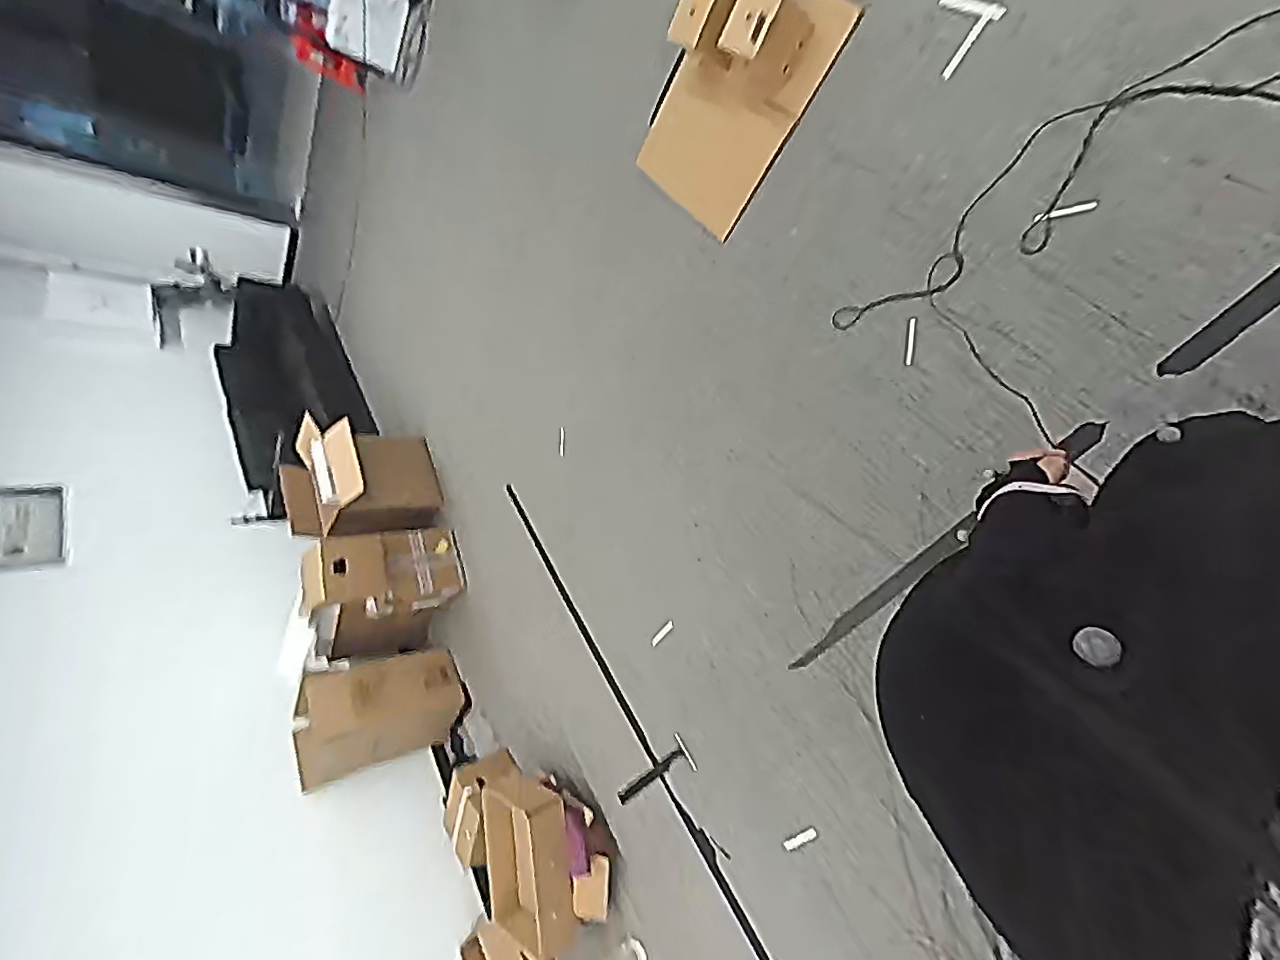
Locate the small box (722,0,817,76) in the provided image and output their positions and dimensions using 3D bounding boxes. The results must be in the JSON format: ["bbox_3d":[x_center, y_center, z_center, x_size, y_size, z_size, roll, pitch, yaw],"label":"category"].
[{"bbox_3d":[0.383,-1.331,1.589,0.179,0.176,0.168,52,127,31],"label":"small box"}]

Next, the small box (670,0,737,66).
[{"bbox_3d":[0.236,-1.486,1.738,0.168,0.176,0.179,51,127,33],"label":"small box"}]
